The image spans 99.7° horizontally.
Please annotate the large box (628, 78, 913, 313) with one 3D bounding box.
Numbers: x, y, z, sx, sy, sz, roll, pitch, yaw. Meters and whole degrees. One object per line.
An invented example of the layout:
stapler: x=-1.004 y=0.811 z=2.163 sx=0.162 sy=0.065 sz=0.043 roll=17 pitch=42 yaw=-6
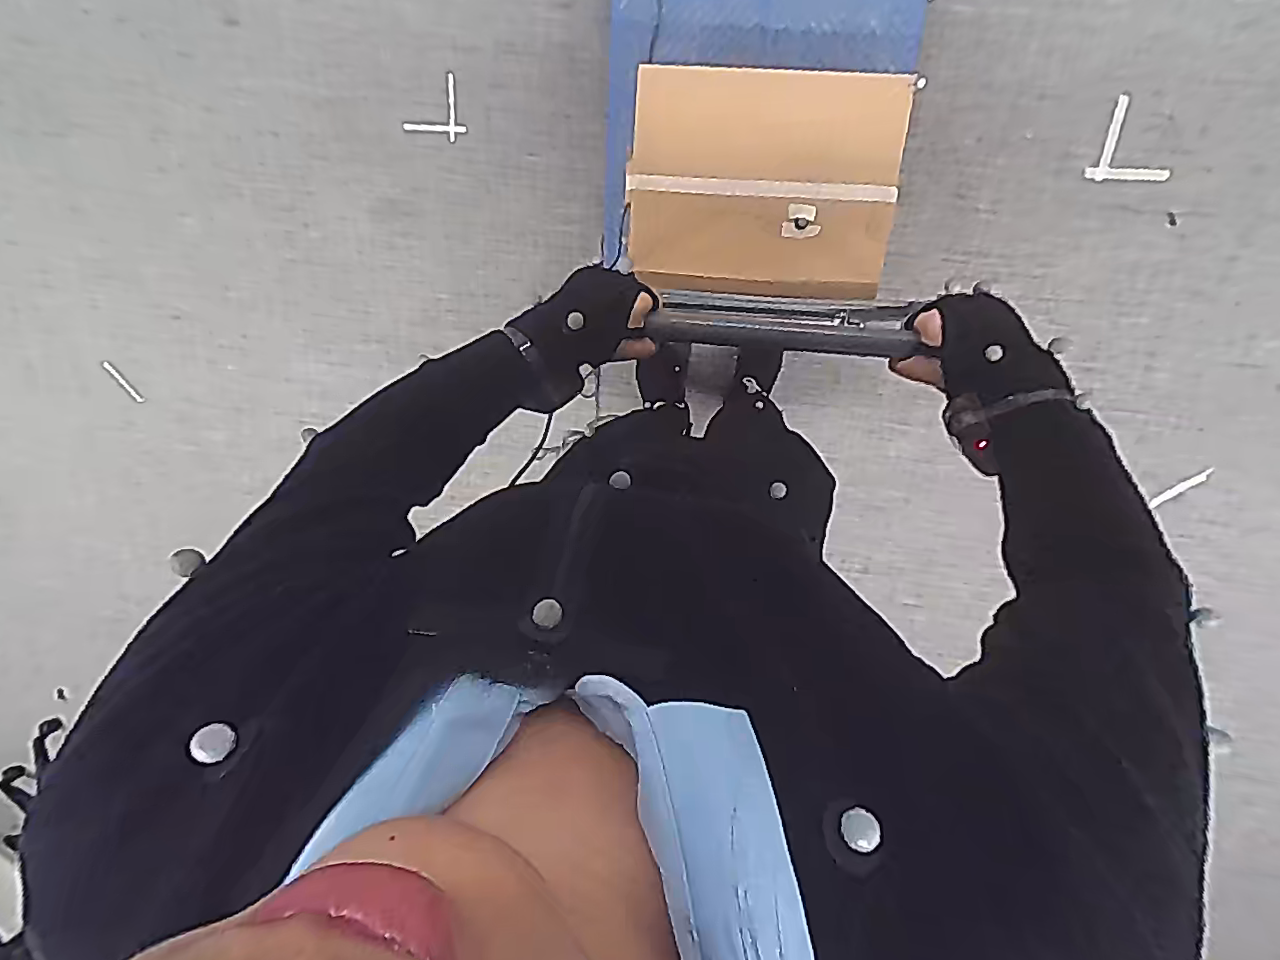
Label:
large box: x=0.194 y=-0.471 z=0.967 sx=0.408 sy=0.320 sz=0.320 roll=5 pitch=108 yaw=3
